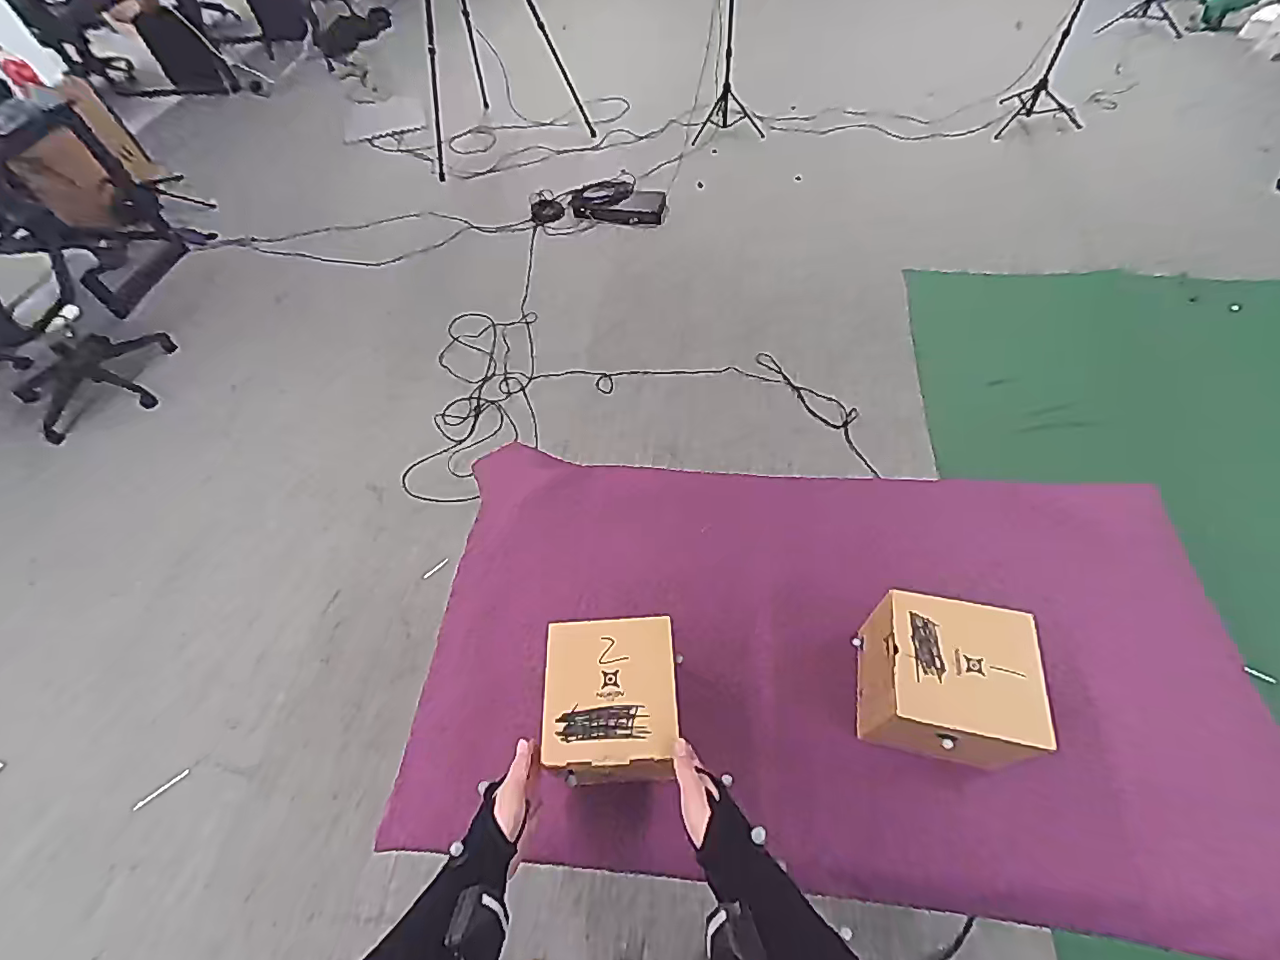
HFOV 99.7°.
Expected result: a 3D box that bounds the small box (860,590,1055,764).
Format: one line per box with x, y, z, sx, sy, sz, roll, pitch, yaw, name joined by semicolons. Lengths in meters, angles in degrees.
0.406;0.270;0.730;0.179;0.176;0.168;9;57;10;small box
